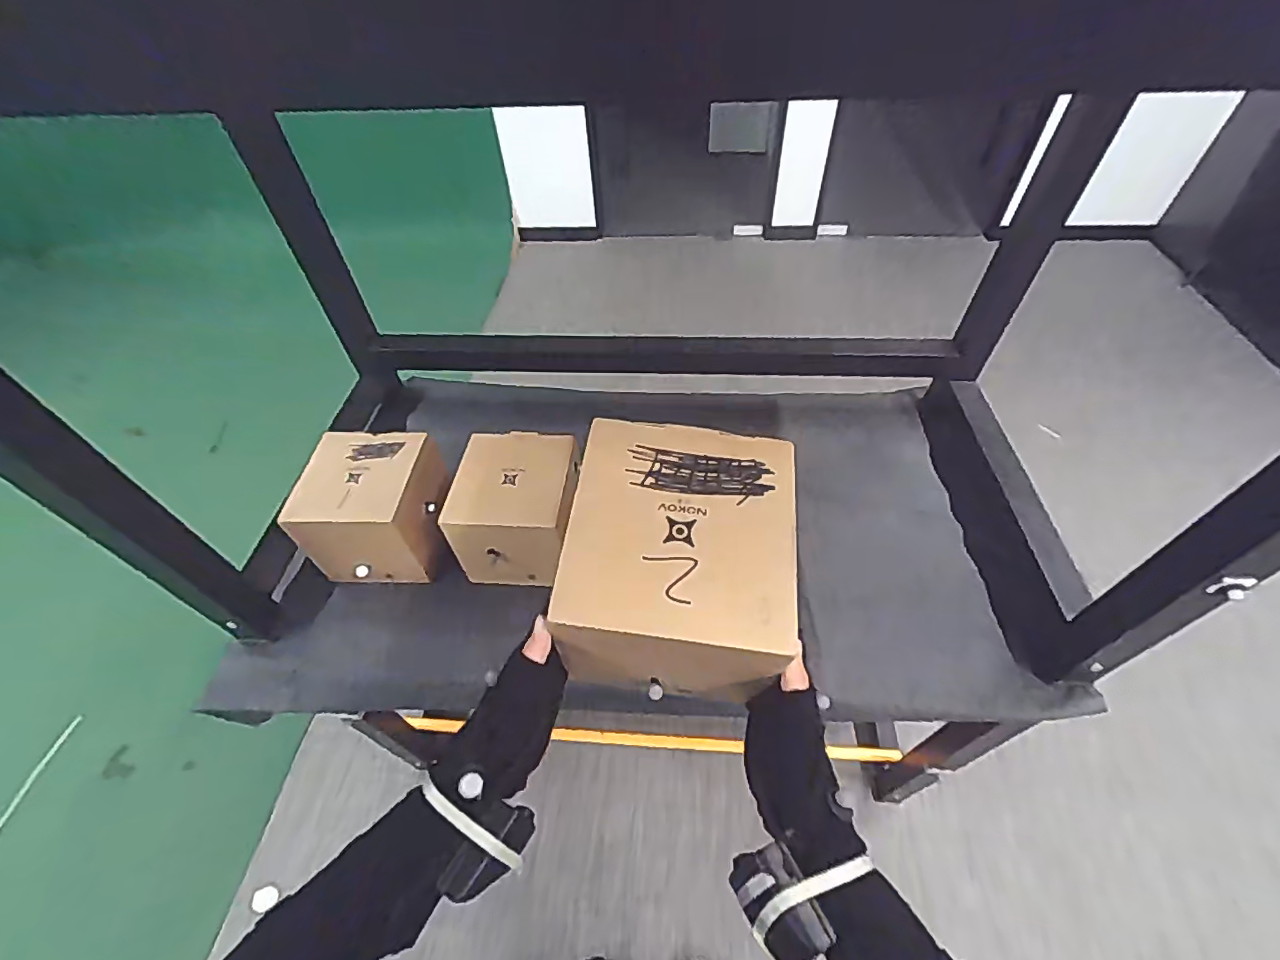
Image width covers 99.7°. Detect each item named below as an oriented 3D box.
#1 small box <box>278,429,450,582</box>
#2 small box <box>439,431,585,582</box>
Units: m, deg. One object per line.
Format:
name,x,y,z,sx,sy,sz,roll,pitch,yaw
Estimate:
small box,-0.411,0.040,0.852,0.168,0.176,0.179,1,50,3
small box,-0.184,0.044,0.841,0.168,0.176,0.179,2,49,4
